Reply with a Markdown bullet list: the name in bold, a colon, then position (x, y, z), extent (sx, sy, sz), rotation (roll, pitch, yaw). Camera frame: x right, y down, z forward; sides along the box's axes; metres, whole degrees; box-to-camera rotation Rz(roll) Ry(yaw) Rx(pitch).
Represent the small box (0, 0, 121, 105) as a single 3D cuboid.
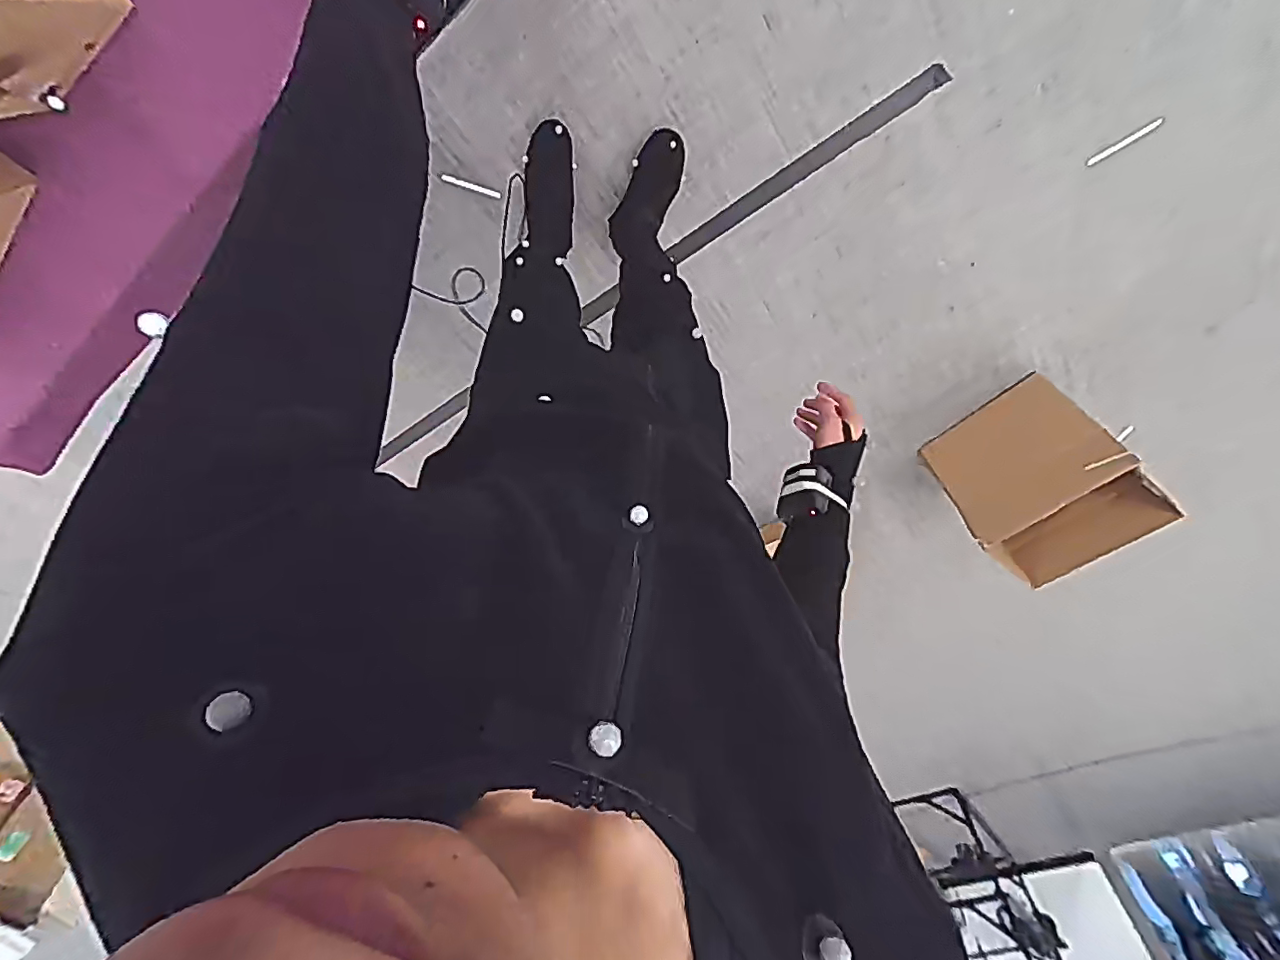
- **small box**: position (-0.610, -0.442, 0.450), extent (0.168, 0.176, 0.179), rotation (-26, 126, 19)
